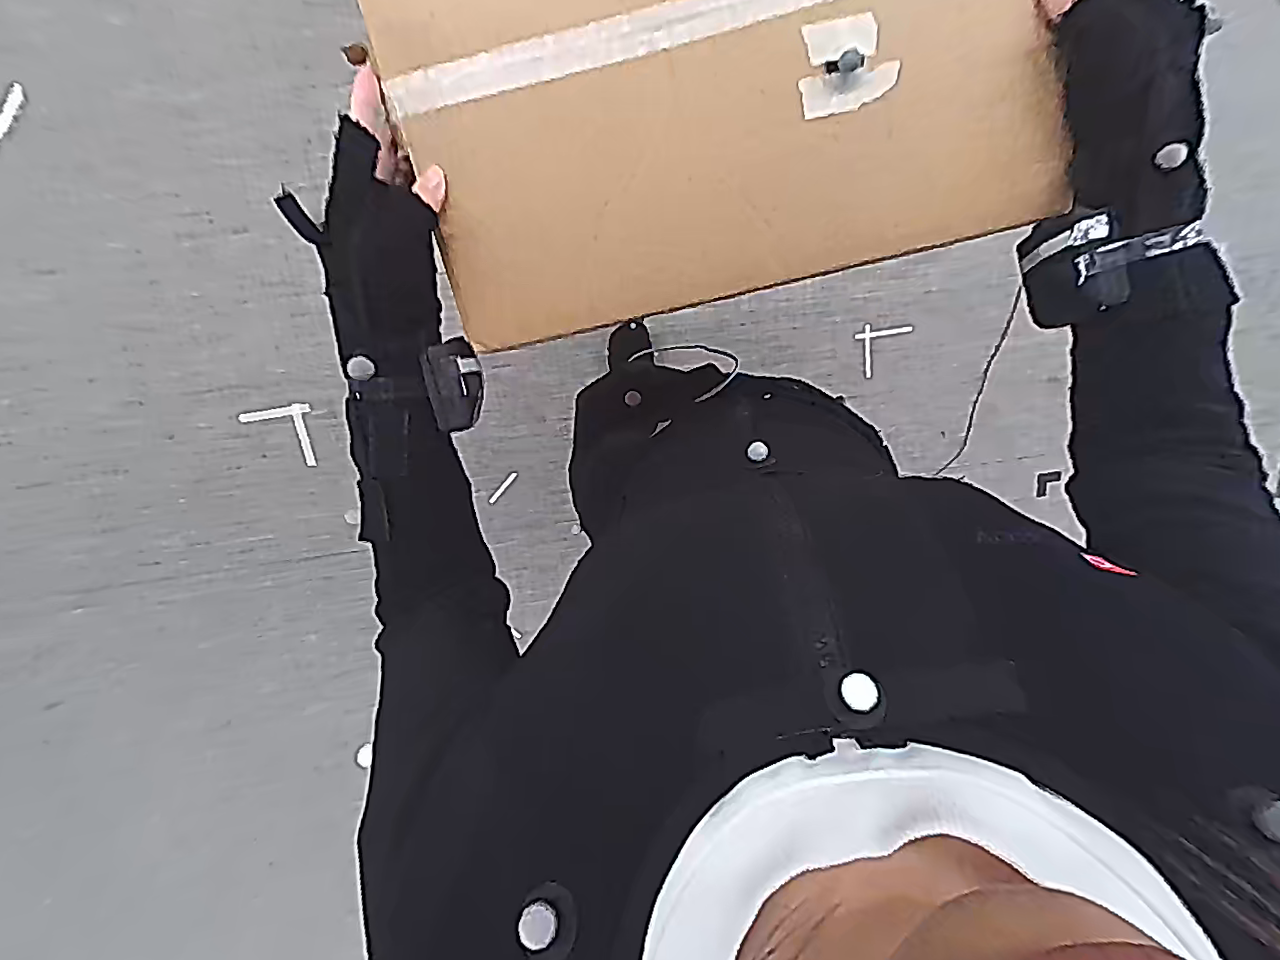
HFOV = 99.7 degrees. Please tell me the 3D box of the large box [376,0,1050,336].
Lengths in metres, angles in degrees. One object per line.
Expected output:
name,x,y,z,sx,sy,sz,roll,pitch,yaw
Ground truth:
large box,0.040,-0.333,0.467,0.408,0.320,0.320,-13,109,3
